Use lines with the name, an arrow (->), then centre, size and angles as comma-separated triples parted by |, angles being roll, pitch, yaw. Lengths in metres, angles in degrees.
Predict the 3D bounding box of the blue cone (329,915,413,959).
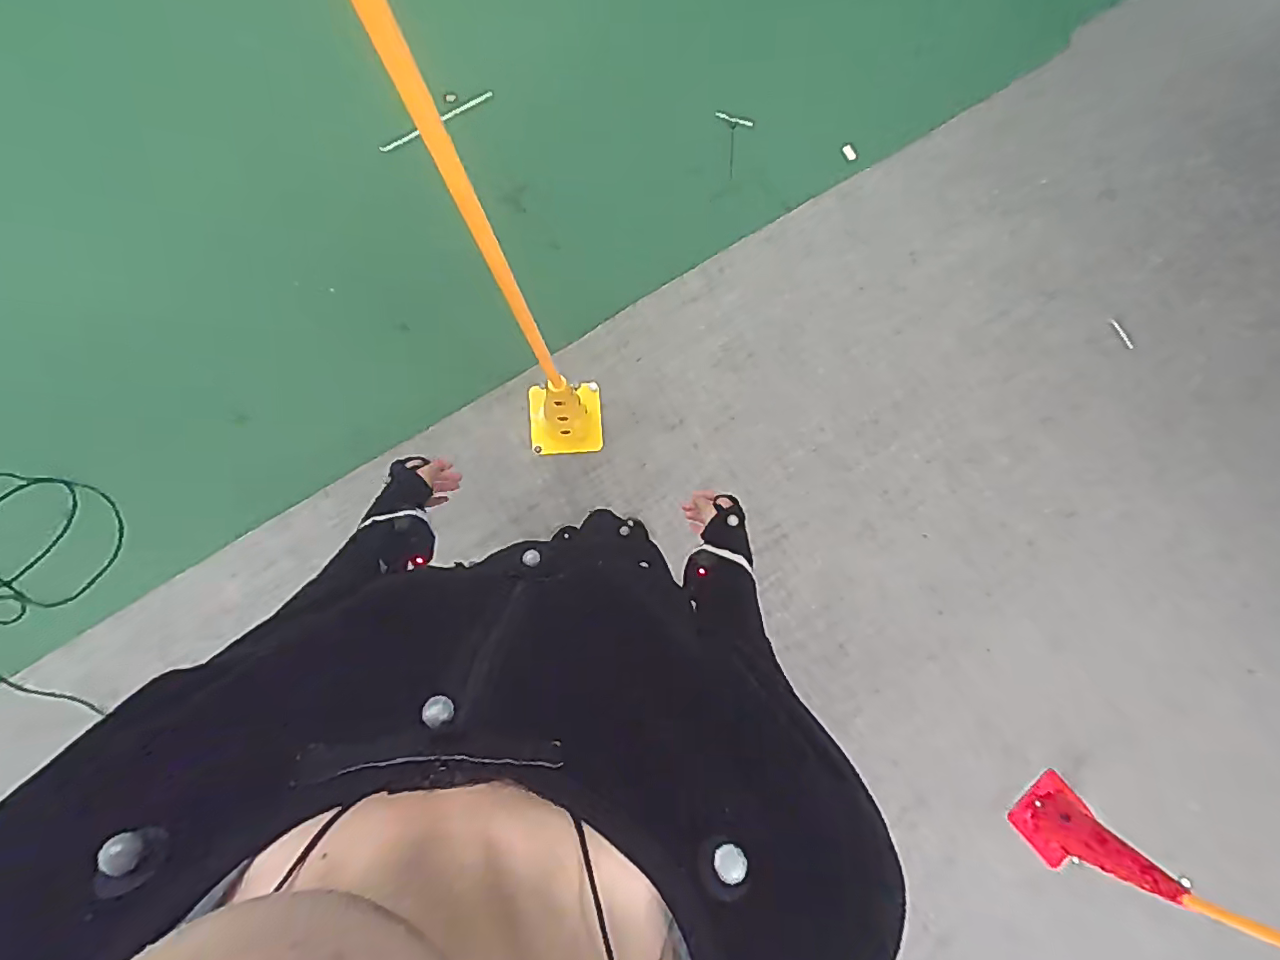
blue cone -> -0.650, 1.168, 1.167 | 0.192, 0.380, 0.193 | 12, 85, -5
